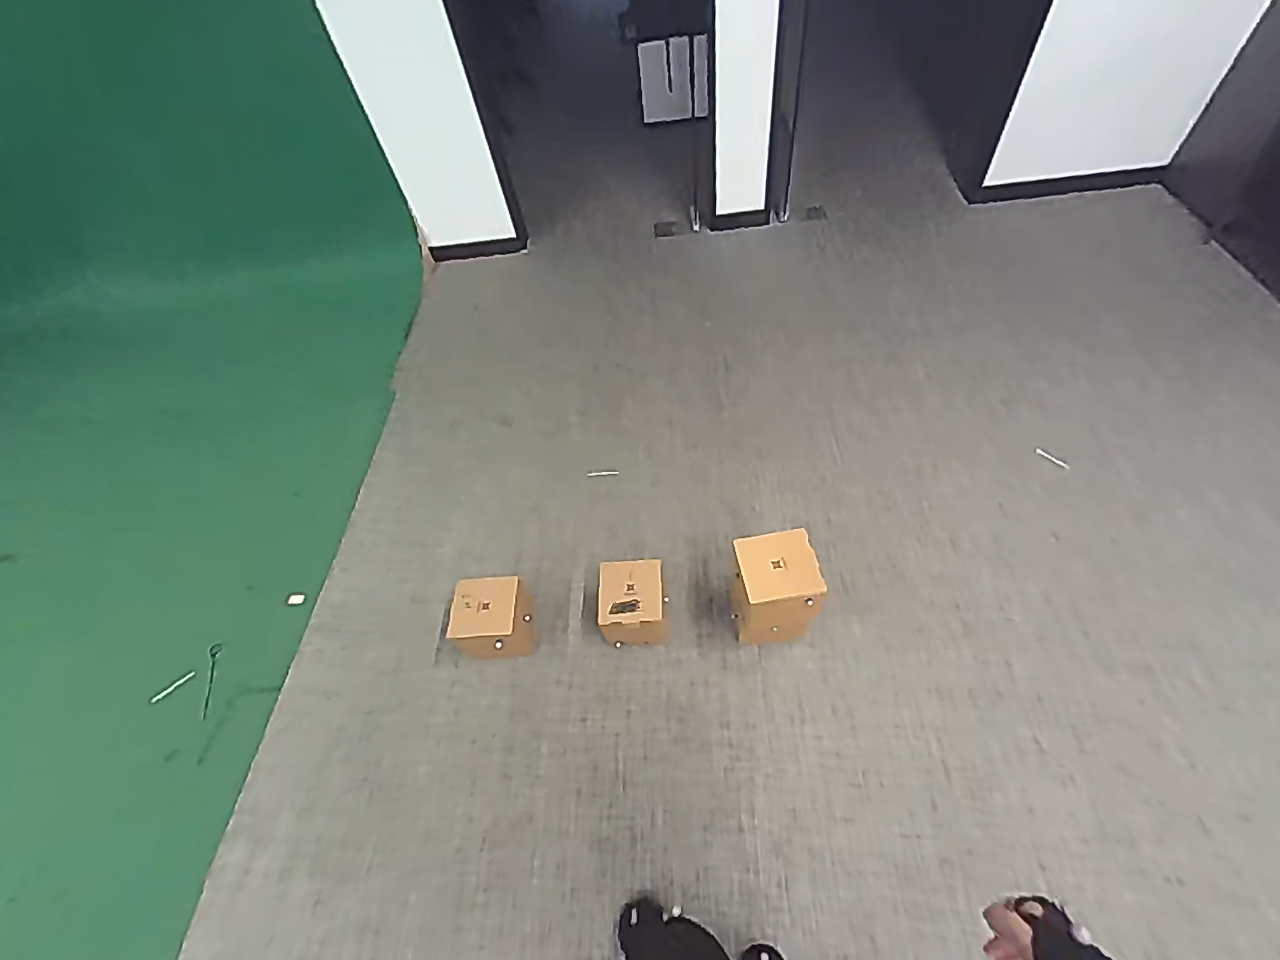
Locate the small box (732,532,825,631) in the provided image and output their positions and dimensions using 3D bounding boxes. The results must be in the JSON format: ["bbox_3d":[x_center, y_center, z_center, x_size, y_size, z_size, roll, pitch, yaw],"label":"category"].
[{"bbox_3d":[0.322,0.248,1.295,0.179,0.176,0.168,-10,54,0],"label":"small box"}]

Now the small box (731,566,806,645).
[{"bbox_3d":[0.338,0.330,1.435,0.179,0.176,0.168,-6,55,4],"label":"small box"}]

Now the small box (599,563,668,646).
[{"bbox_3d":[-0.013,0.344,1.475,0.168,0.176,0.179,-4,53,5],"label":"small box"}]

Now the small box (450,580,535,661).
[{"bbox_3d":[-0.399,0.392,1.498,0.179,0.176,0.168,-5,53,5],"label":"small box"}]
